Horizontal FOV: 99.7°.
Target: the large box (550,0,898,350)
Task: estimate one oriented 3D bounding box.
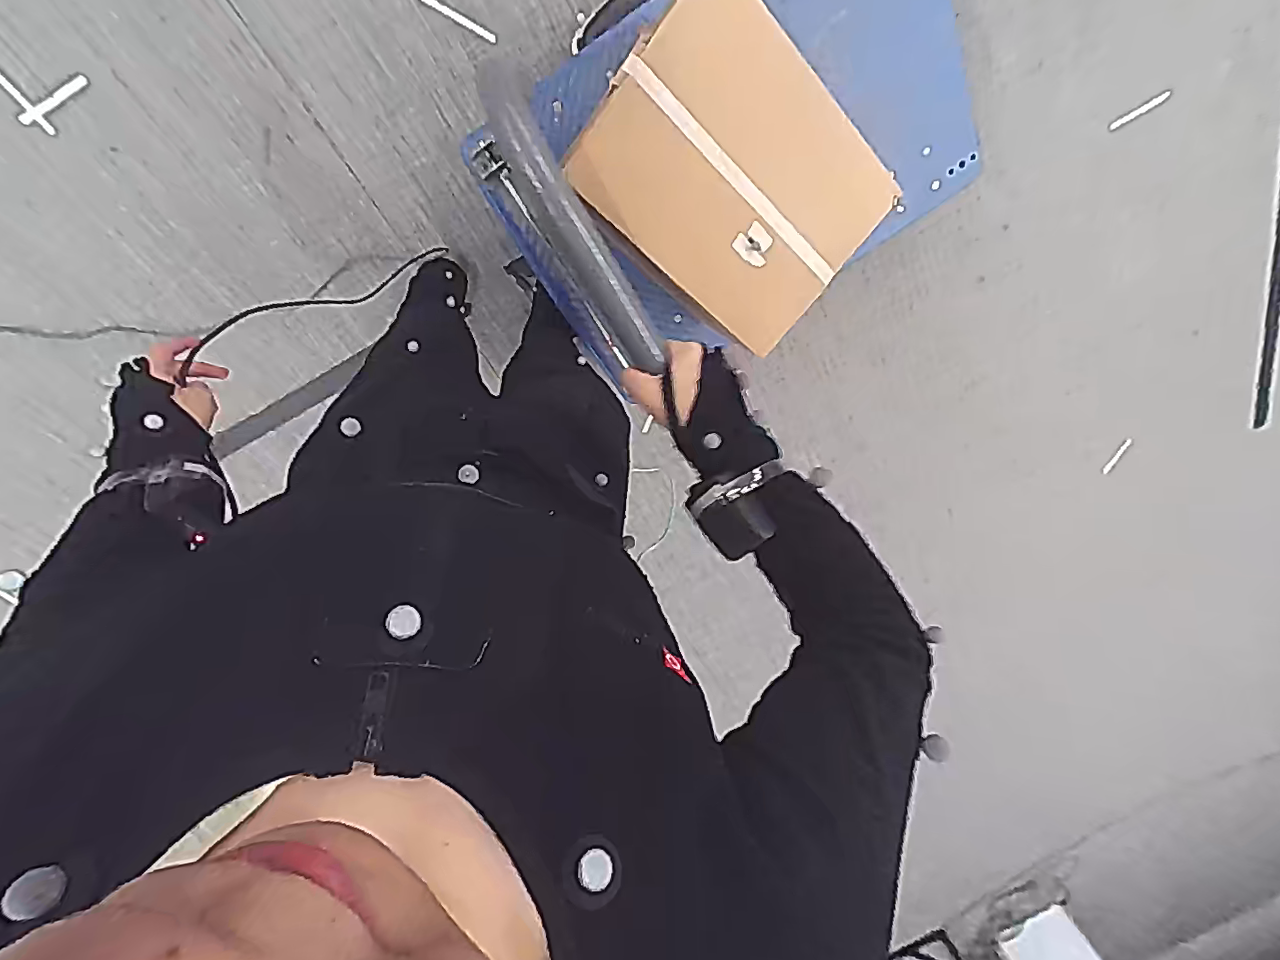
[{"bbox_3d":[0.110,-0.483,0.882,0.408,0.320,0.320,33,106,-26],"label":"large box"}]
